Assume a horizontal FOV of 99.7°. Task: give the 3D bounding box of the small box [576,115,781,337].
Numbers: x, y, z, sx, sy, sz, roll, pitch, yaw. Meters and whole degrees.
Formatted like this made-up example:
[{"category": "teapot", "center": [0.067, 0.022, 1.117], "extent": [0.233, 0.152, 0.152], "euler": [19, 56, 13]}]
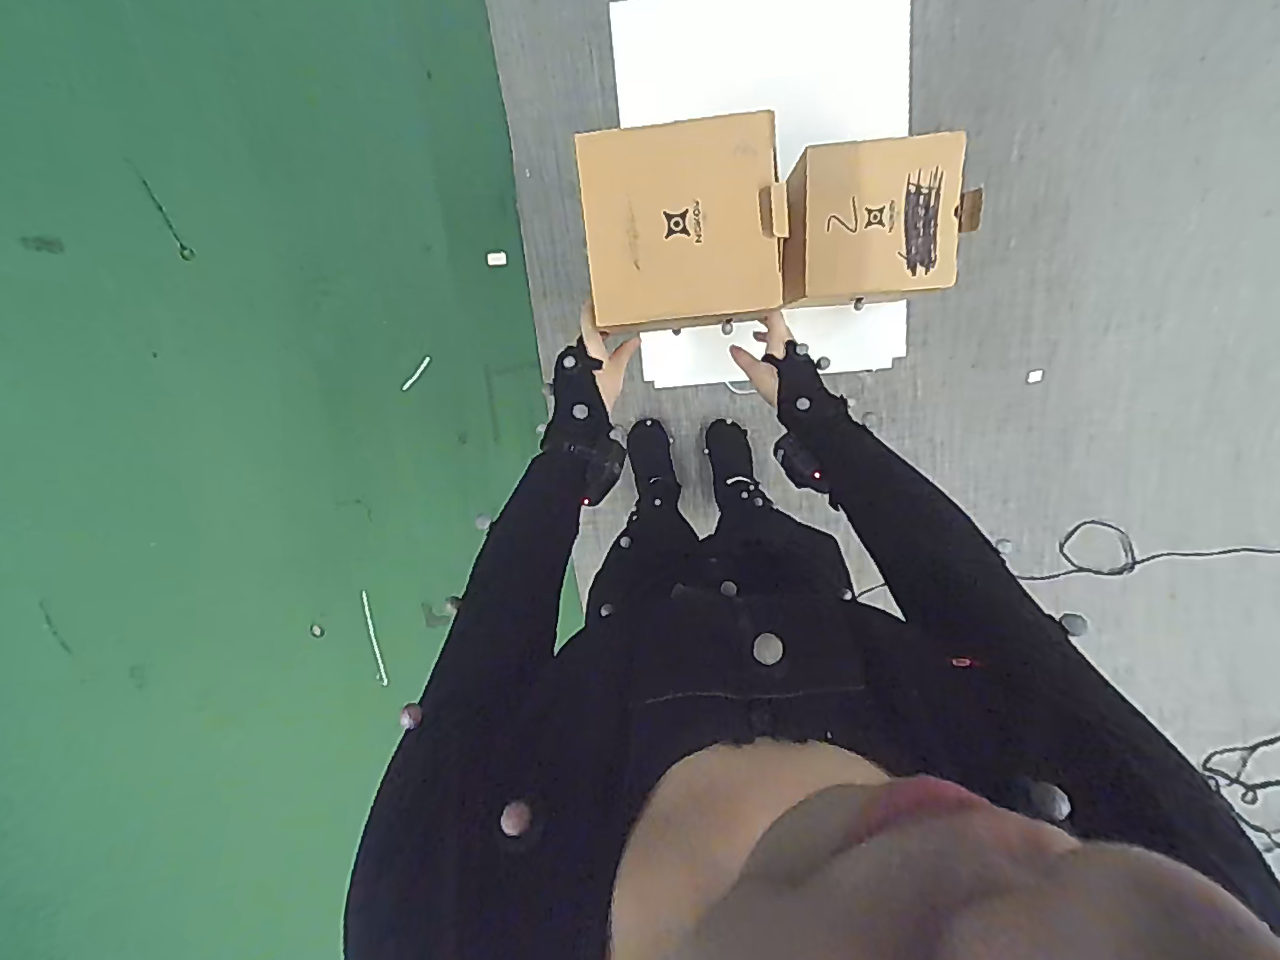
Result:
[{"category": "small box", "center": [0.039, -0.244, 0.562], "extent": [0.179, 0.176, 0.168], "euler": [-5, 101, 4]}]
